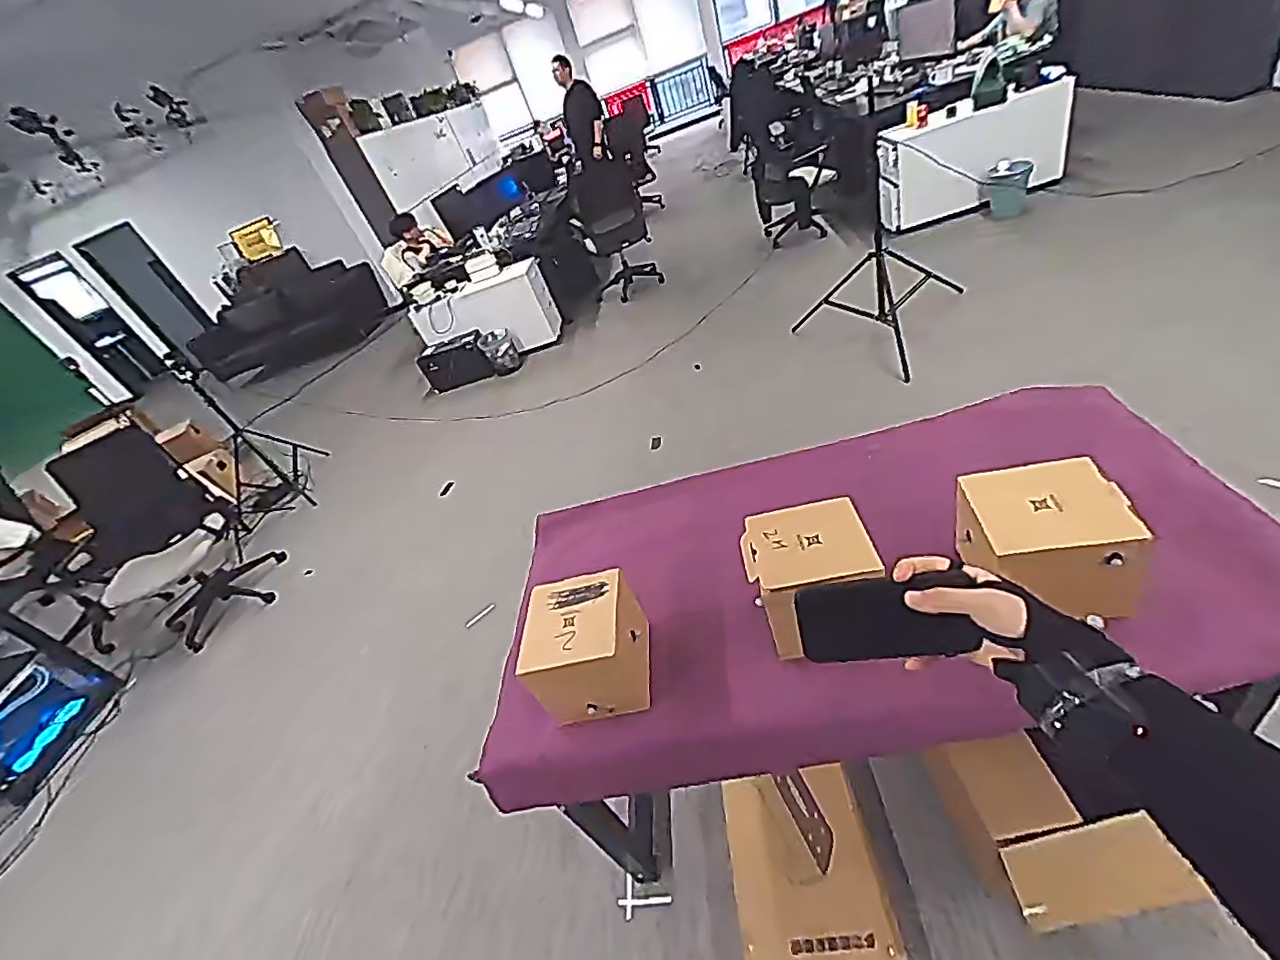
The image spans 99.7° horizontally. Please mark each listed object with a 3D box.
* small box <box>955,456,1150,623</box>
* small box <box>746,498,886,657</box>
[{"bbox_3d":[0.584,0.093,0.795,0.179,0.176,0.168,-11,38,17],"label":"small box"},{"bbox_3d":[0.283,0.159,0.874,0.179,0.176,0.168,-15,34,11],"label":"small box"}]
